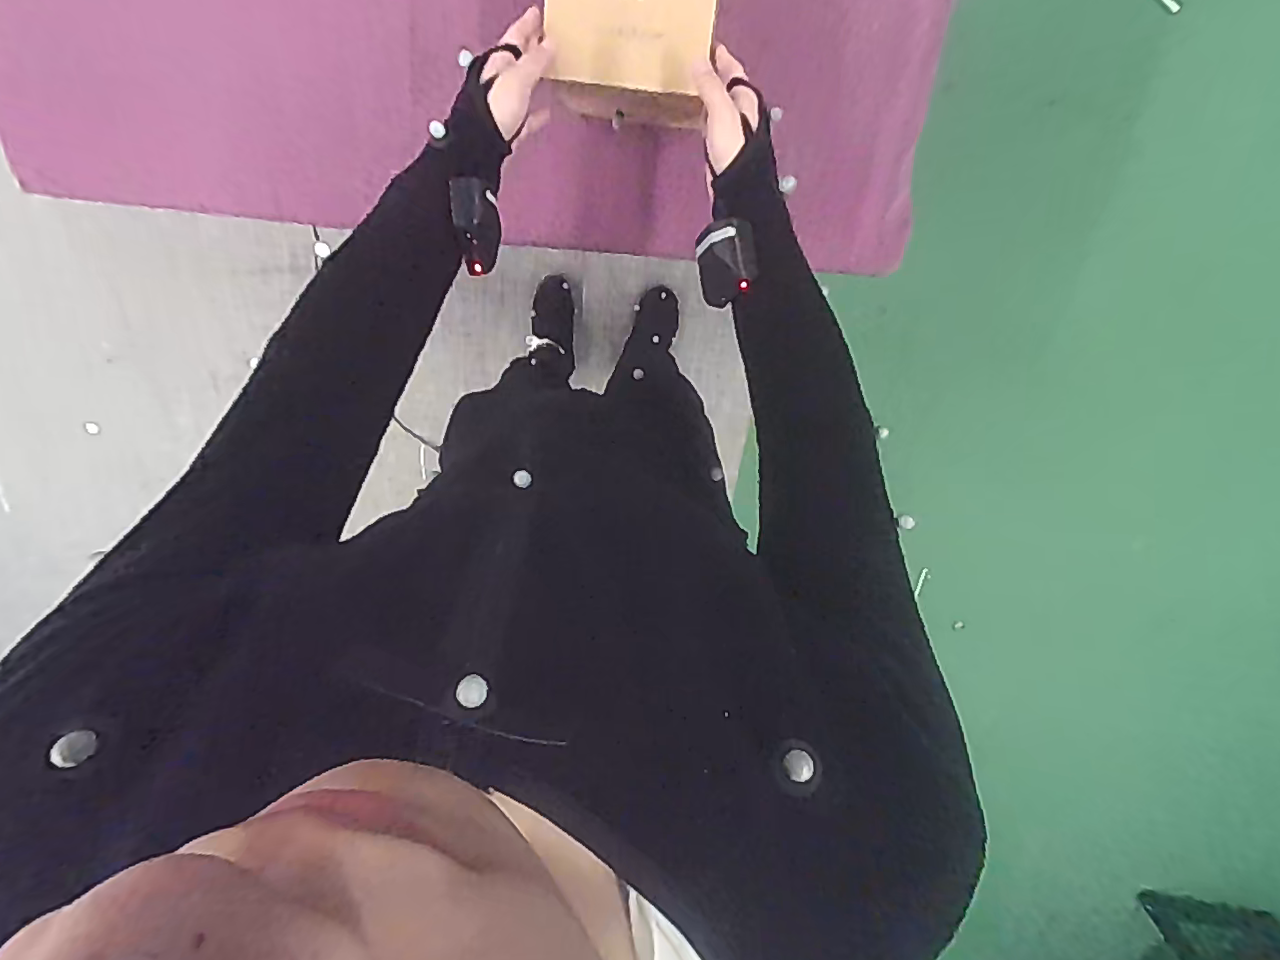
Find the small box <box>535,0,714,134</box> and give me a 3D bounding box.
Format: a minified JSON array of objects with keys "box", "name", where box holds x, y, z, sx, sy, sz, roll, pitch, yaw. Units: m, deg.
[{"box":[-0.008,-0.498,0.580,0.168,0.176,0.179,8,114,2],"name":"small box"}]
